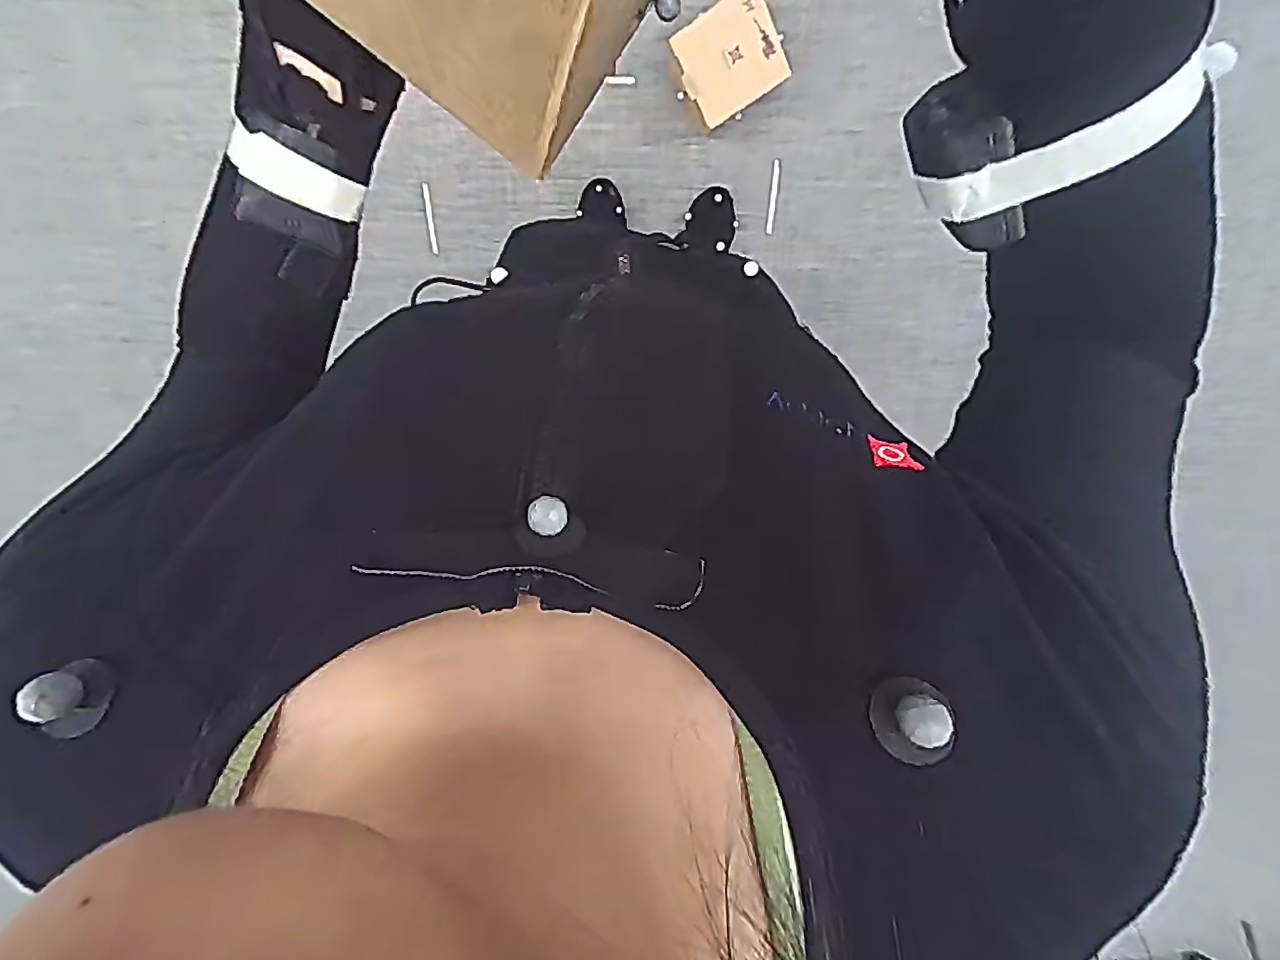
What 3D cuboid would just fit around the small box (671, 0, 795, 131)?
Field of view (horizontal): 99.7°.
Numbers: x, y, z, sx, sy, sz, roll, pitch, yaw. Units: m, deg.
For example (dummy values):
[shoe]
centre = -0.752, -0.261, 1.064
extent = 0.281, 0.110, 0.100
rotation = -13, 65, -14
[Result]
[small box]
centre = 0.175, -0.817, 1.059
extent = 0.179, 0.176, 0.168
rotation = -29, 114, 16
